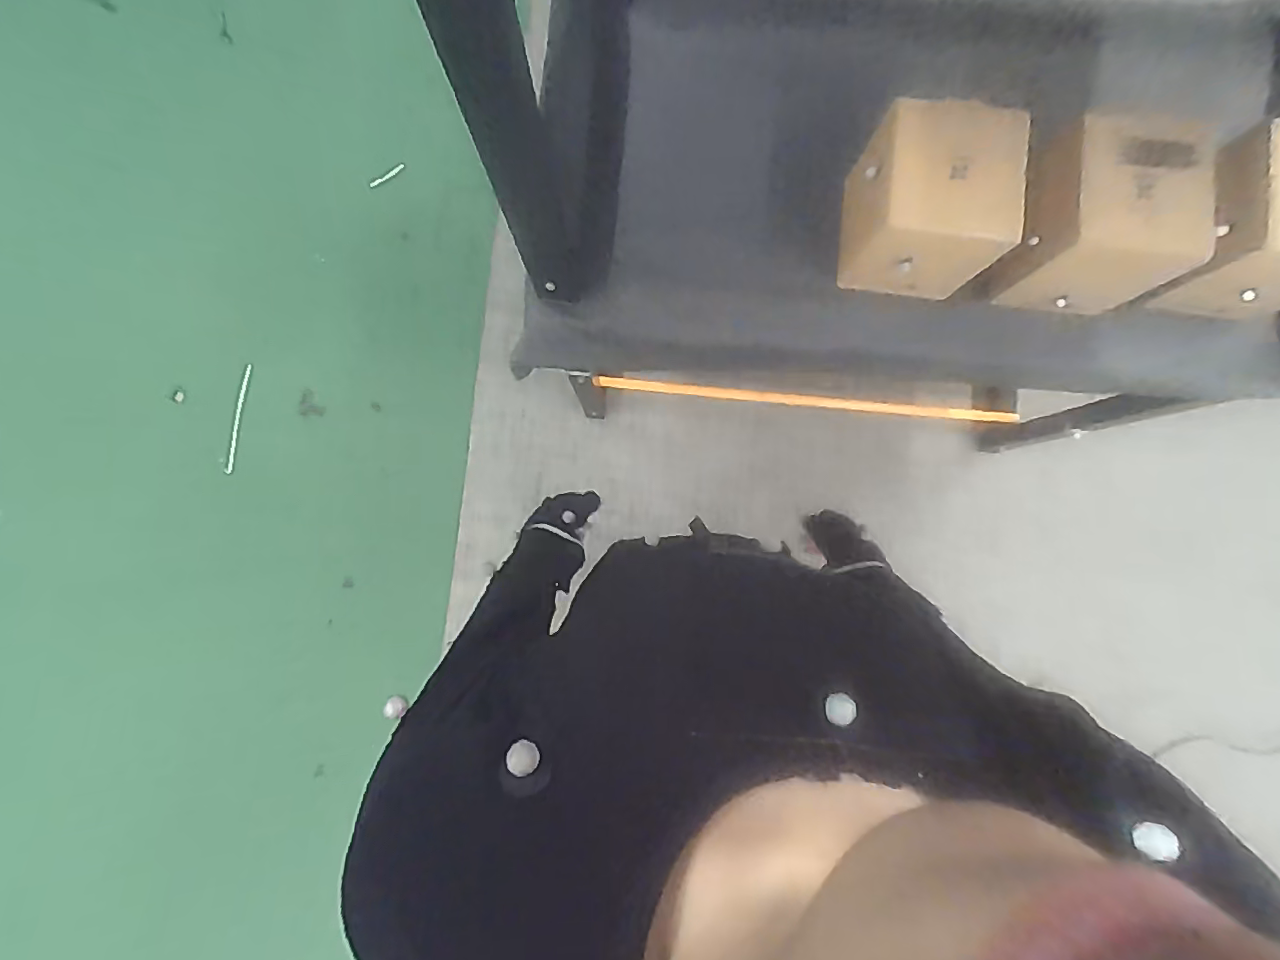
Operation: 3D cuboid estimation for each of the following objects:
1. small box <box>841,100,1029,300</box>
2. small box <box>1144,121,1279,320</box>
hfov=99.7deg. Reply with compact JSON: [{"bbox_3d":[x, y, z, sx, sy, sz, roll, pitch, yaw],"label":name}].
[{"bbox_3d":[0.388,-0.368,0.739,0.168,0.176,0.179,7,83,1],"label":"small box"},{"bbox_3d":[0.839,-0.337,0.733,0.168,0.176,0.179,9,83,1],"label":"small box"}]
